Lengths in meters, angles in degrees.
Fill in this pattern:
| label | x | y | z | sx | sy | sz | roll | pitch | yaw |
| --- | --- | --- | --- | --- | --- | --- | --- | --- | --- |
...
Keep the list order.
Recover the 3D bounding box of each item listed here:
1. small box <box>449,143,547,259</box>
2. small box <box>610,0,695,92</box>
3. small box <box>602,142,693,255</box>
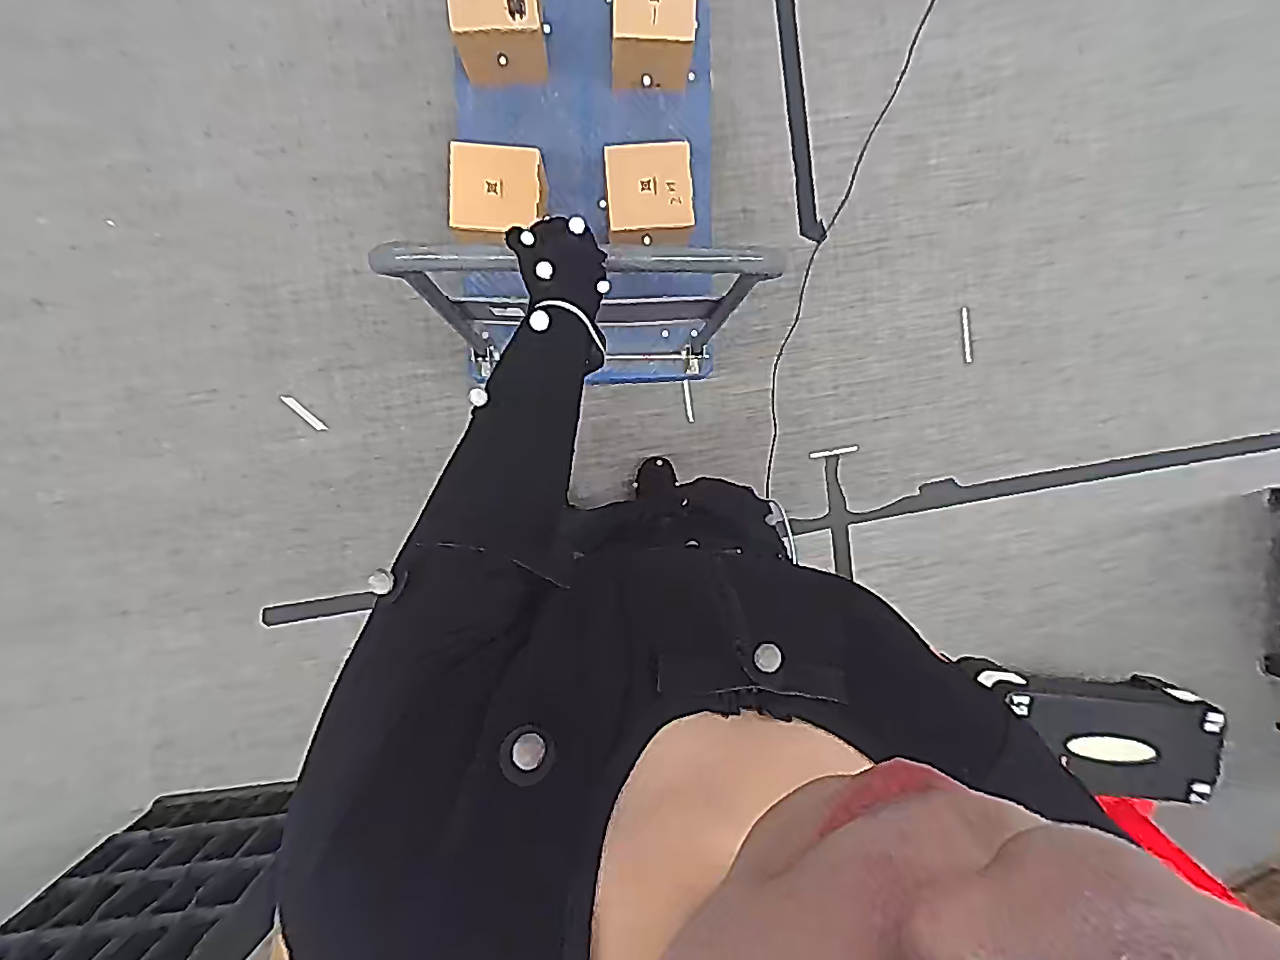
| label | x | y | z | sx | sy | sz | roll | pitch | yaw |
| --- | --- | --- | --- | --- | --- | --- | --- | --- | --- |
| small box | -0.295 | -0.583 | 1.150 | 0.179 | 0.176 | 0.168 | 1 | 94 | -6 |
| small box | 0.020 | -0.963 | 1.137 | 0.168 | 0.176 | 0.179 | 0 | 96 | -4 |
| small box | 0.013 | -0.599 | 1.169 | 0.179 | 0.176 | 0.168 | -5 | 96 | -3 |
